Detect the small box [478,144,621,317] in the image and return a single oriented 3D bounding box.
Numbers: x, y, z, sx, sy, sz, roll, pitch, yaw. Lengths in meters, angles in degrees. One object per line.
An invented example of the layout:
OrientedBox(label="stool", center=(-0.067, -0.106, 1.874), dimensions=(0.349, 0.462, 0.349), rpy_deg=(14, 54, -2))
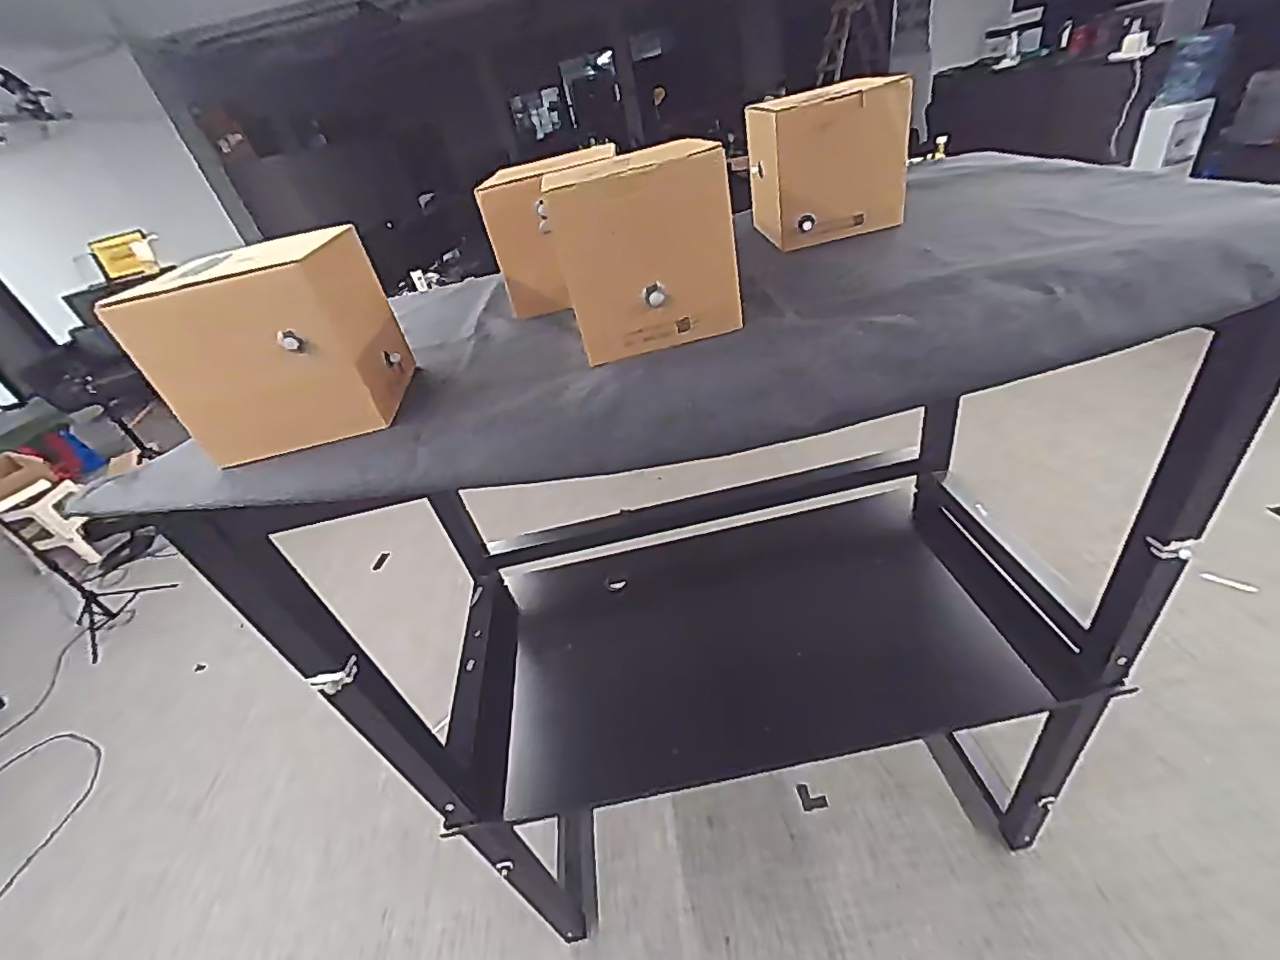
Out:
OrientedBox(label="small box", center=(-0.098, -0.347, 0.756), dimensions=(0.179, 0.176, 0.168), rpy_deg=(-10, 36, 6))

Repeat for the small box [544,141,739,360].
OrientedBox(label="small box", center=(0.001, -0.248, 0.583), dimensions=(0.168, 0.176, 0.179), rpy_deg=(-14, 35, 1))

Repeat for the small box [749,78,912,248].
OrientedBox(label="small box", center=(0.257, -0.439, 0.758), dimensions=(0.168, 0.176, 0.179), rpy_deg=(-11, 35, 4))
